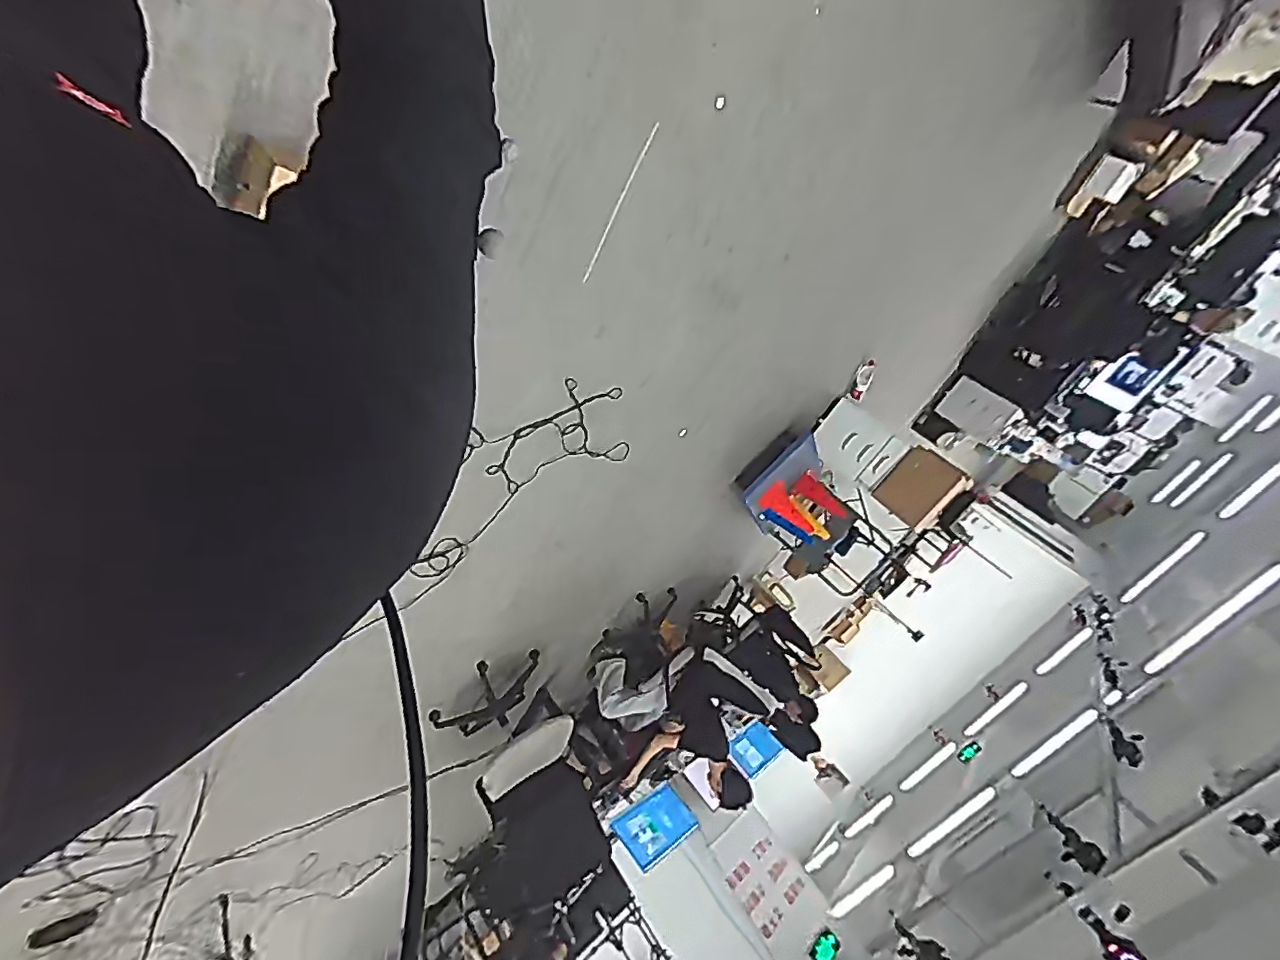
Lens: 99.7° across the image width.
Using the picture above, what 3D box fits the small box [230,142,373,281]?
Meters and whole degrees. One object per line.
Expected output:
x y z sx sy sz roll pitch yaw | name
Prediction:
-0.664 -0.524 1.058 0.179 0.176 0.168 3 124 -52 | small box
